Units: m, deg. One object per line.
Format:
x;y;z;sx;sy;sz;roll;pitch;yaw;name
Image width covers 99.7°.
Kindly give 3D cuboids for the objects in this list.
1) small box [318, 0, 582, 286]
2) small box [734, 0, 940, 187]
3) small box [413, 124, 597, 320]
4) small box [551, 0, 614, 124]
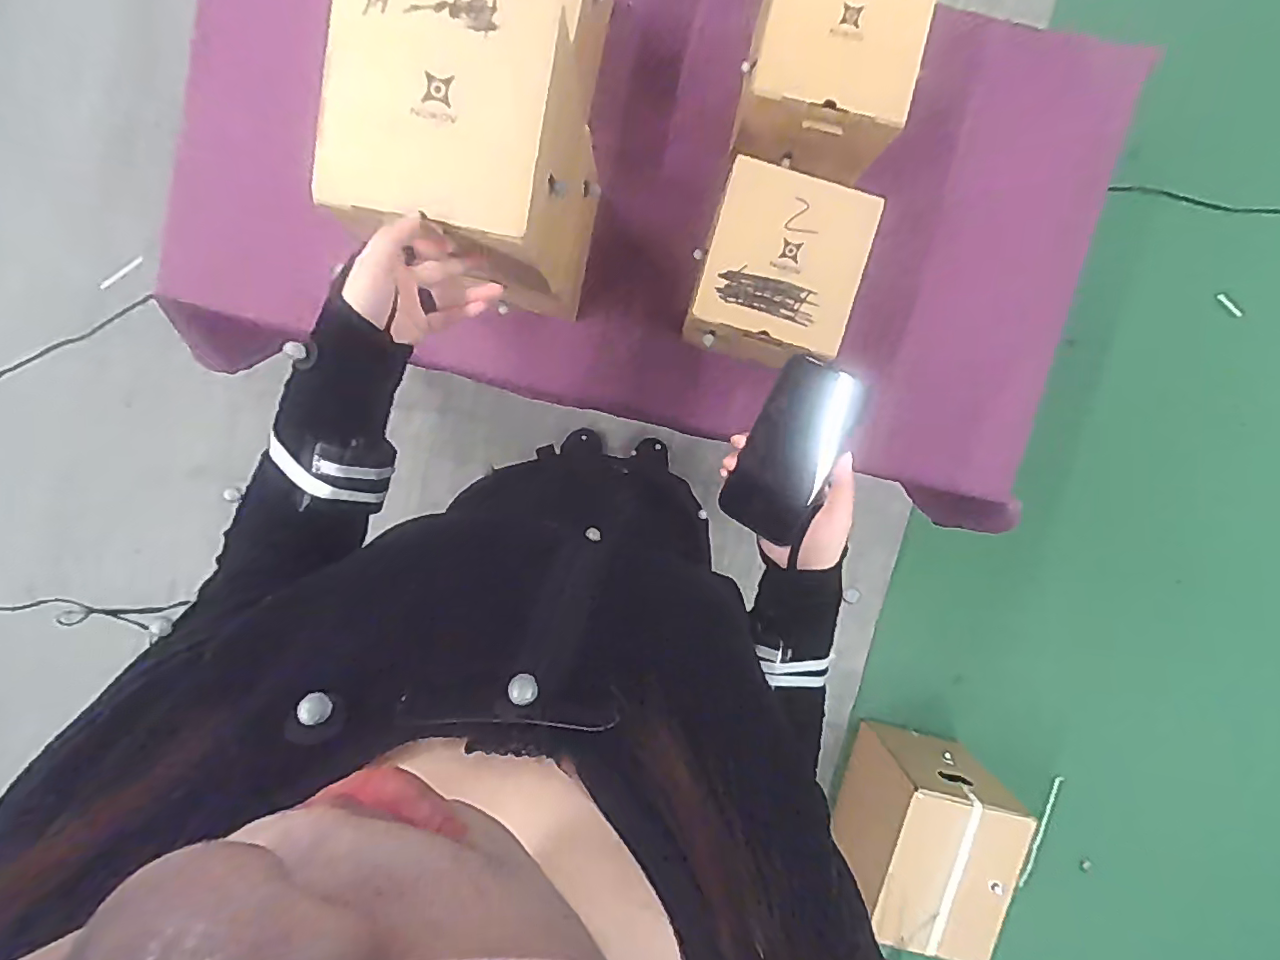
-0.150;-0.287;0.481;0.168;0.176;0.179;11;97;-2;small box
0.216;-0.478;0.629;0.168;0.176;0.179;11;97;-1;small box
-0.147;-0.307;0.645;0.168;0.176;0.179;11;96;-1;small box
-0.127;-0.549;0.619;0.168;0.176;0.179;14;96;-3;small box
